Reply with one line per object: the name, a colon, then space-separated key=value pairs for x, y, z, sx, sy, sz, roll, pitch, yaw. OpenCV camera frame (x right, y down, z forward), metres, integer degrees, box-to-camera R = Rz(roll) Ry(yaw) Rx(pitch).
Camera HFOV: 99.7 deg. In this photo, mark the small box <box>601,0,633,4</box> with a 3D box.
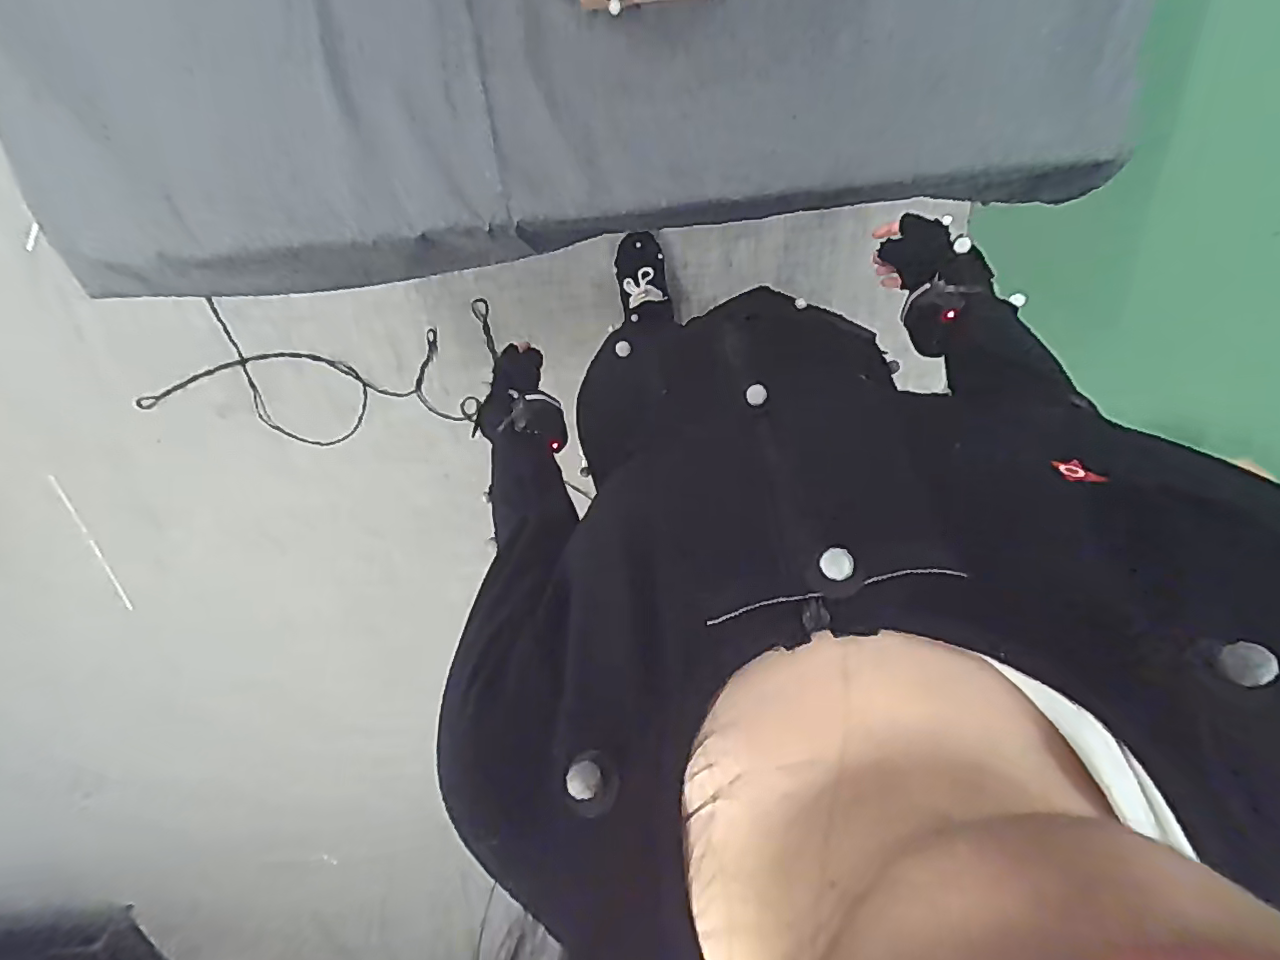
small box: x=0.014 y=-0.529 z=0.439 sx=0.168 sy=0.176 sz=0.179 roll=-6 pitch=112 yaw=3
